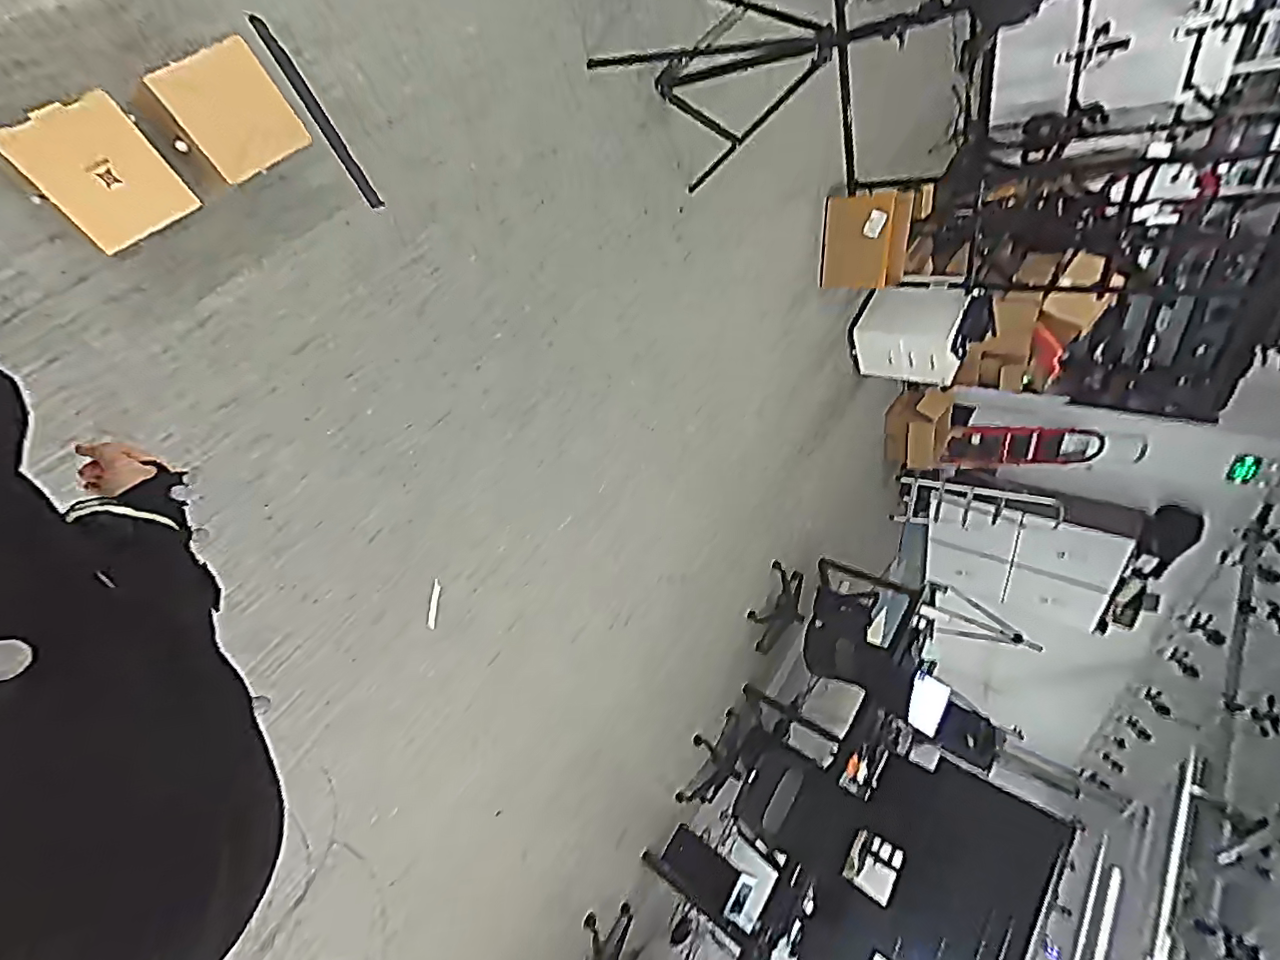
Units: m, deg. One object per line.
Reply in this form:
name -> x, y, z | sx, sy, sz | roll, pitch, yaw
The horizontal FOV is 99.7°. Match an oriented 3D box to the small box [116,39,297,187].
small box -> -0.763, -0.649, 0.965 | 0.179, 0.176, 0.168 | -51, 138, -25

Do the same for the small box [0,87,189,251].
small box -> -0.895, -0.493, 0.874 | 0.168, 0.176, 0.179 | -50, 137, -25
